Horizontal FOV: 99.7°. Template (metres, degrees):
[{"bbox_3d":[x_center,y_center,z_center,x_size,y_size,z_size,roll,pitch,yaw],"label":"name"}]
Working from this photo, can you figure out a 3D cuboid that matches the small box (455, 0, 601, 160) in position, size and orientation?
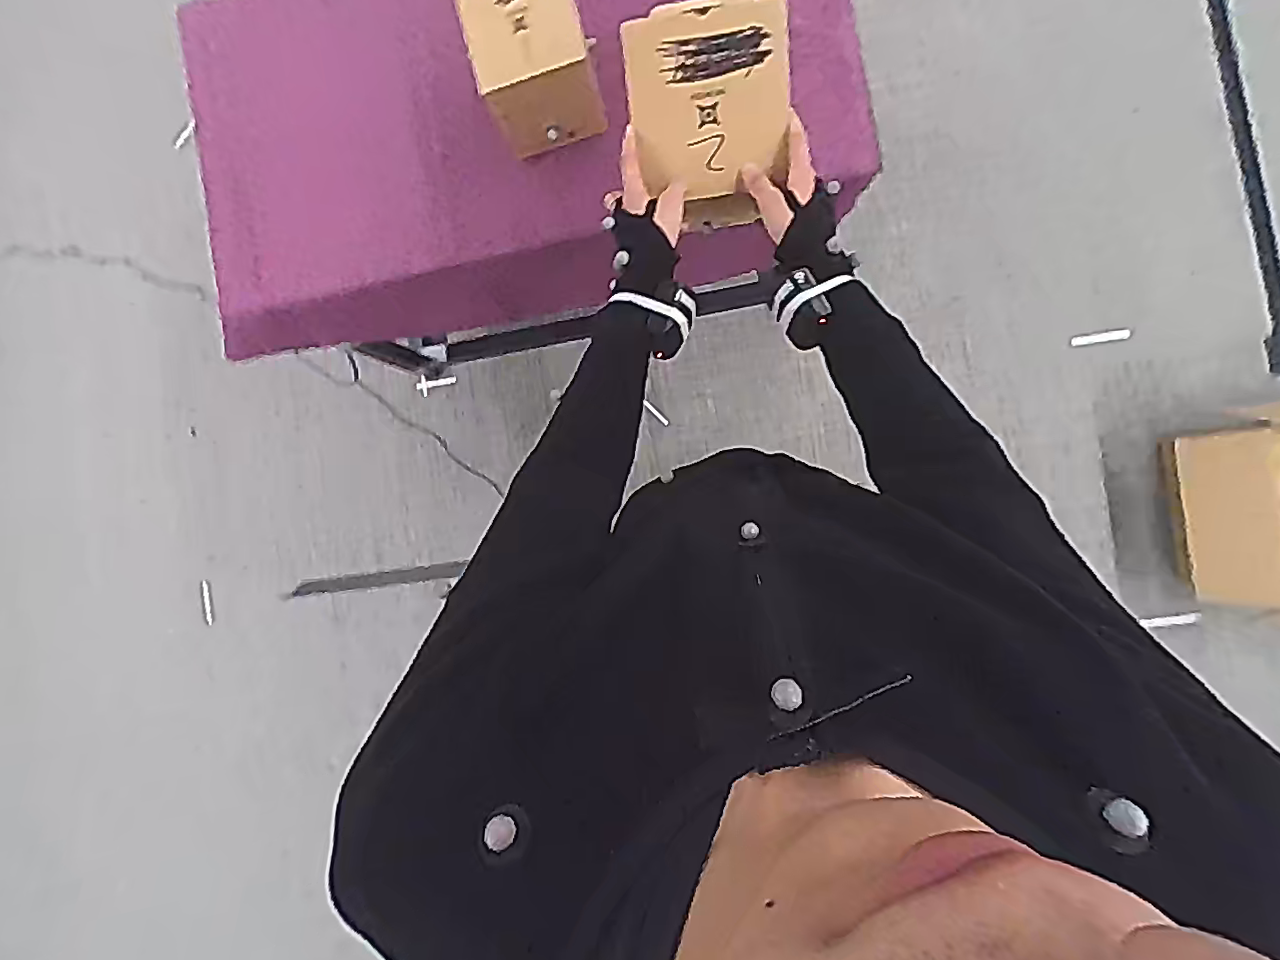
[{"bbox_3d":[-0.172,-0.665,0.869,0.168,0.176,0.179,-15,89,6],"label":"small box"}]
